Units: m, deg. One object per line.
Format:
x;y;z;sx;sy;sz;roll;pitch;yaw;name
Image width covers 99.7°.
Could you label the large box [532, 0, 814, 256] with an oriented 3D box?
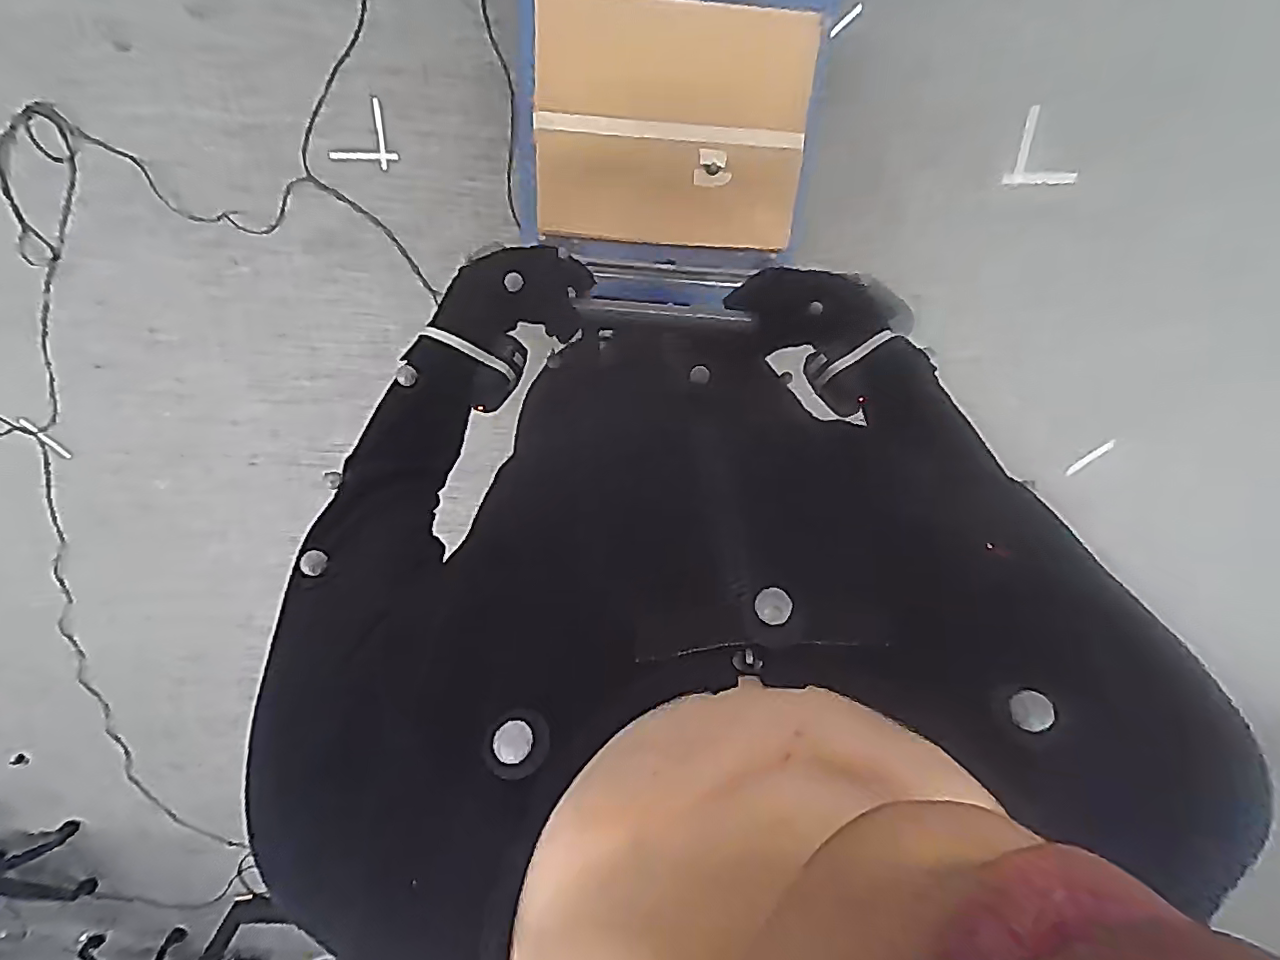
0.034;-0.569;0.945;0.408;0.320;0.320;2;114;-4;large box
